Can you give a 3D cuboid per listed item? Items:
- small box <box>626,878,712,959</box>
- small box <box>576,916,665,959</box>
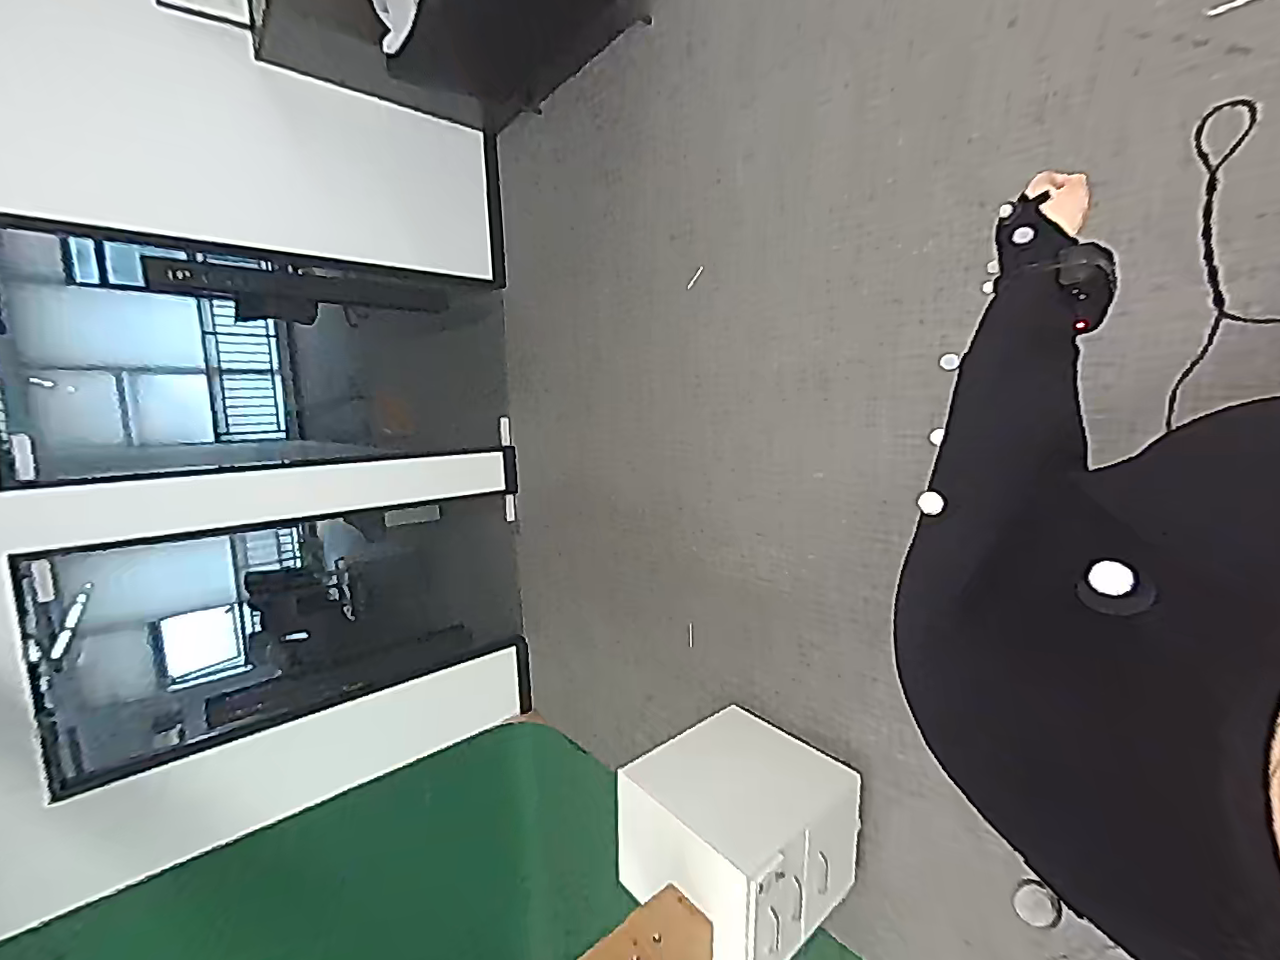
[{"bbox_3d":[0.078,1.226,1.439,0.168,0.176,0.179,9,103,48],"label":"small box"},{"bbox_3d":[-0.042,1.247,1.329,0.168,0.176,0.179,9,102,49],"label":"small box"}]
